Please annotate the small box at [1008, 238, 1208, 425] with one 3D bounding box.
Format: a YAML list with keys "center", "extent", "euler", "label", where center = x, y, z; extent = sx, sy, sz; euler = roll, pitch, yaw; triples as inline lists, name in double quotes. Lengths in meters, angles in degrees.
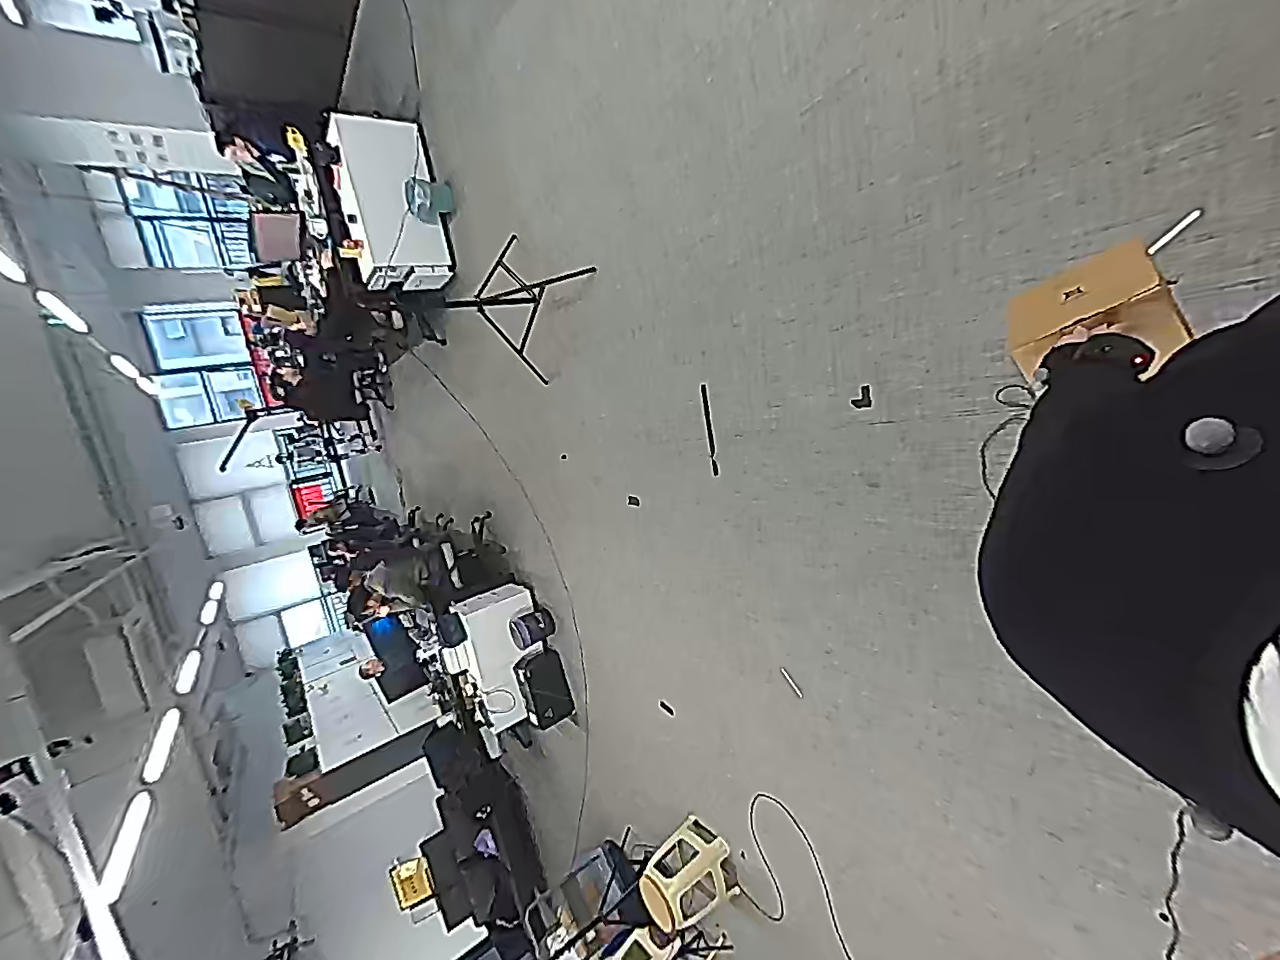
- center: [0.658, -0.200, 0.773]
  extent: [0.176, 0.179, 0.168]
  euler: [48, 139, -14]
  label: "small box"
